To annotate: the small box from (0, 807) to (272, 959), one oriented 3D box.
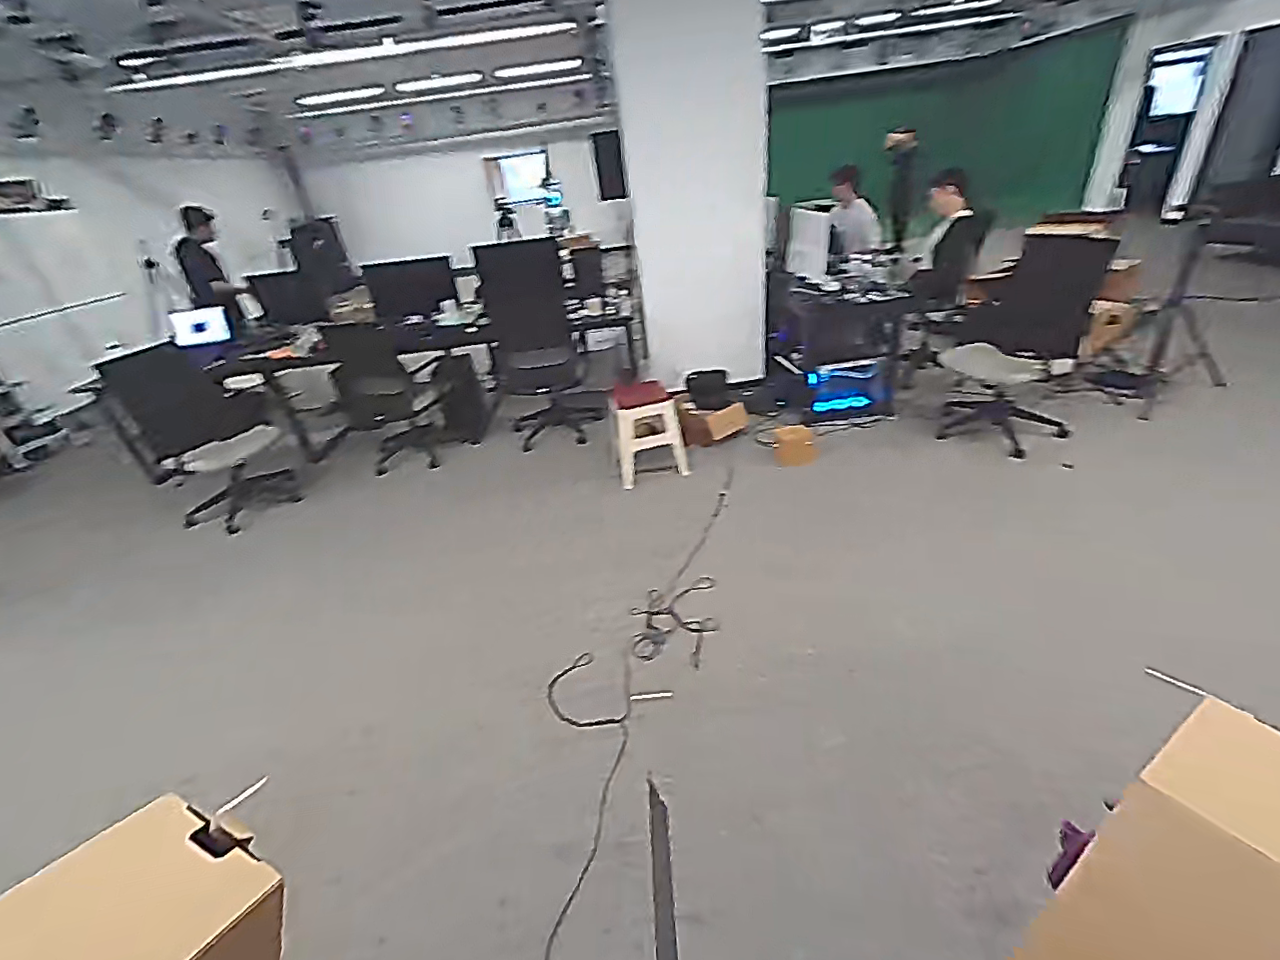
[{"bbox_3d":[-0.450,0.438,0.456,0.168,0.176,0.179,18,15,17],"label":"small box"}]
